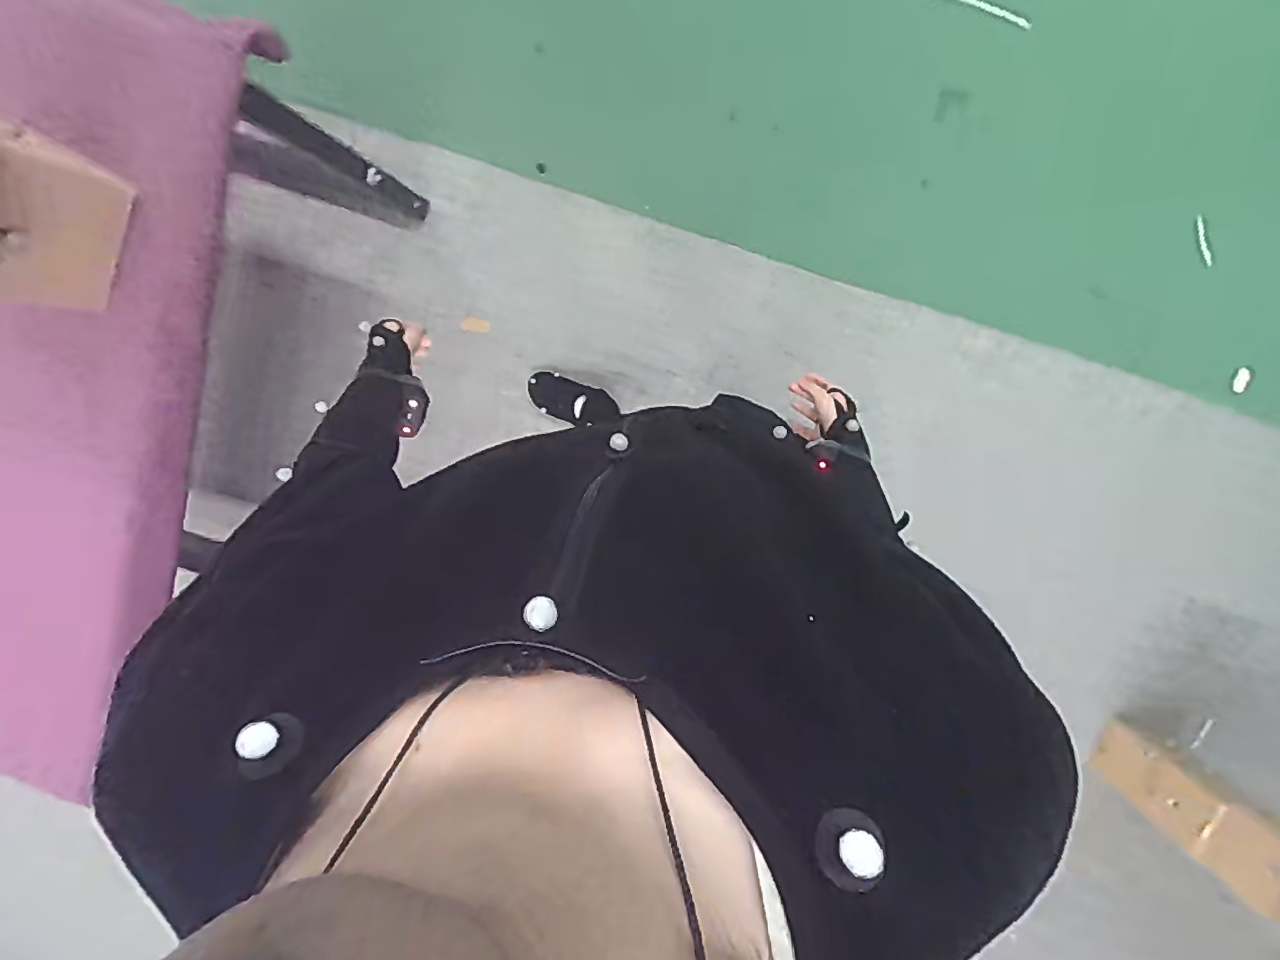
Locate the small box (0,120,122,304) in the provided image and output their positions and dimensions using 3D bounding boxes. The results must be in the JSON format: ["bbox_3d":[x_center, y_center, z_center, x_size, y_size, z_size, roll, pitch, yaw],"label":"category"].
[{"bbox_3d":[-0.776,-0.328,0.635,0.168,0.176,0.179,28,103,-3],"label":"small box"}]

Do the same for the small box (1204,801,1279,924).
[{"bbox_3d":[1.449,0.866,1.213,0.168,0.176,0.179,16,103,-2],"label":"small box"}]

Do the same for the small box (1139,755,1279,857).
[{"bbox_3d":[1.446,0.837,1.375,0.179,0.176,0.168,15,103,-1],"label":"small box"}]
